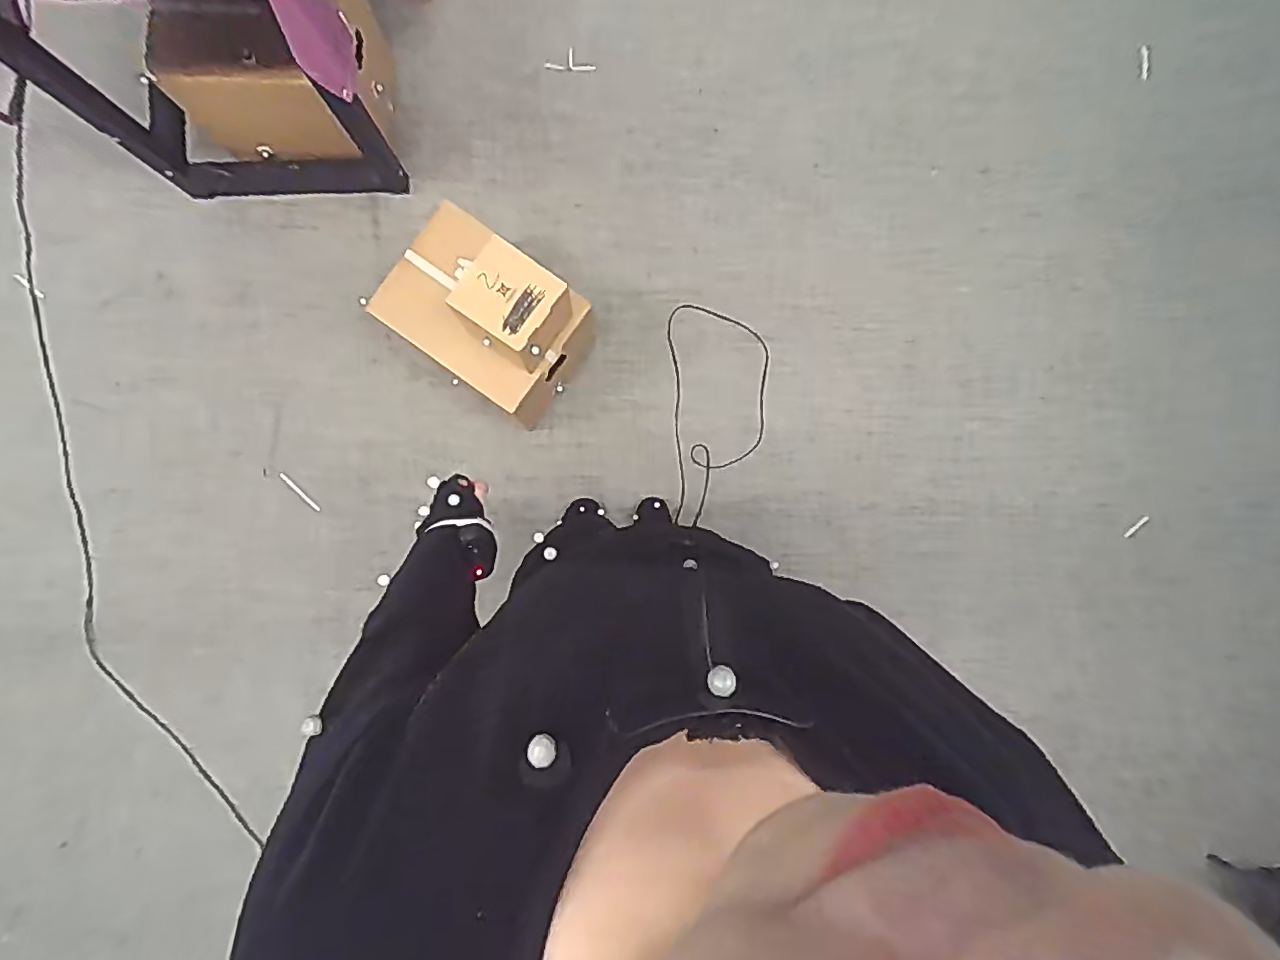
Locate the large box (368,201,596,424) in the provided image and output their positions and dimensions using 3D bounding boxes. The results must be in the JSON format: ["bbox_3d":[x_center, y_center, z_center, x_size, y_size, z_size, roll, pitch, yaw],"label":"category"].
[{"bbox_3d":[-0.360,-0.386,1.352,0.408,0.320,0.320,36,86,-1],"label":"large box"}]
